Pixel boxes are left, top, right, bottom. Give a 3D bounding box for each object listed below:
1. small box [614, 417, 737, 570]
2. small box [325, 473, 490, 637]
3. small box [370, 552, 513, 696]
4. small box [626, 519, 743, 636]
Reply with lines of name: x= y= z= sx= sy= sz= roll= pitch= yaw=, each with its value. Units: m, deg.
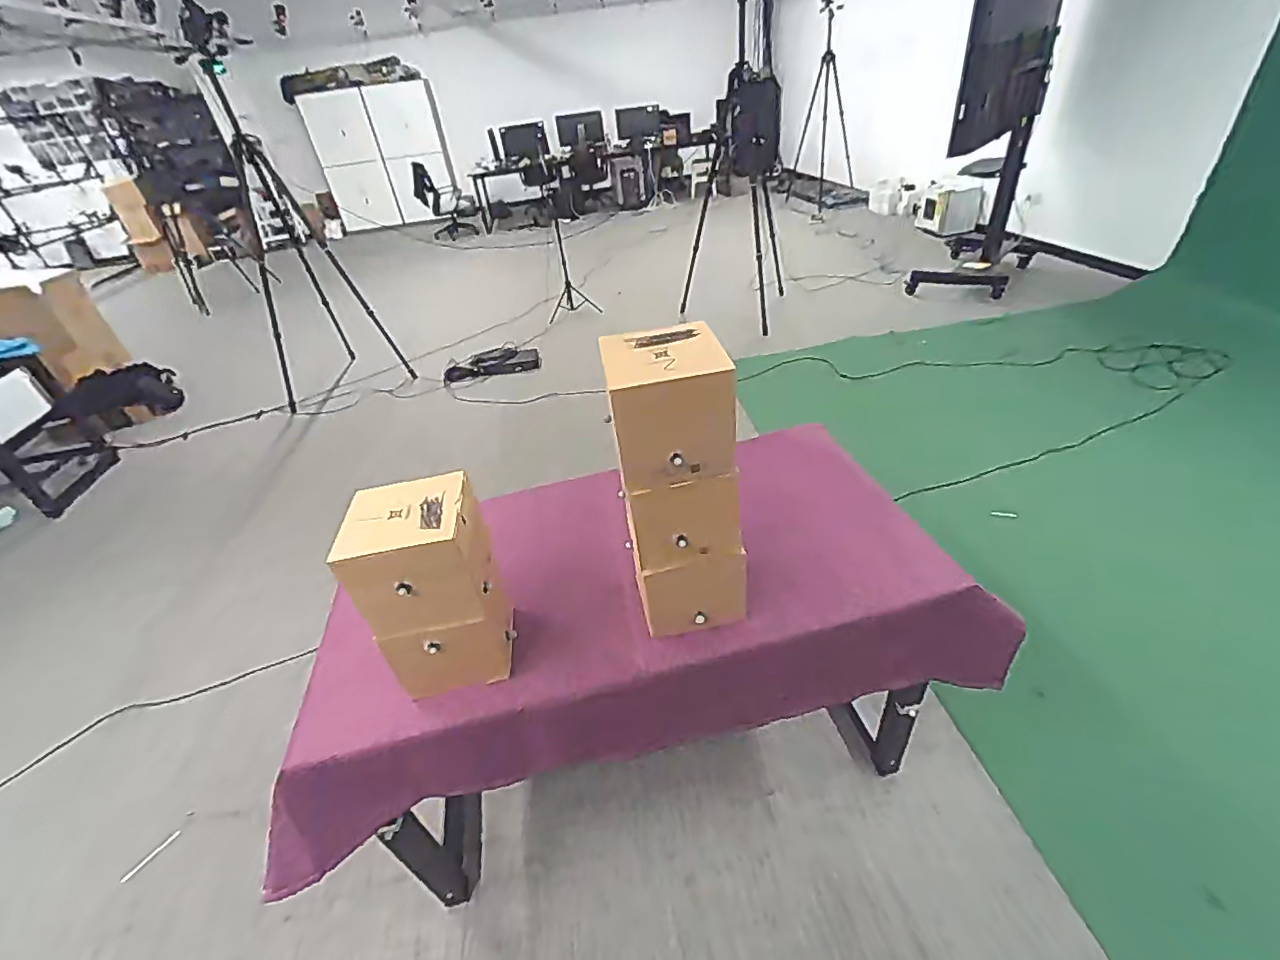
small box: x=0.056 y=0.021 z=0.897 sx=0.168 sy=0.176 sz=0.179 roll=-11 pitch=37 yaw=-4
small box: x=-0.343 y=0.117 z=0.844 sx=0.179 sy=0.176 sz=0.168 roll=-12 pitch=37 yaw=-3
small box: x=-0.330 y=0.250 z=0.939 sx=0.179 sy=0.176 sz=0.168 roll=-10 pitch=37 yaw=-4
small box: x=0.078 y=0.157 z=0.985 sx=0.179 sy=0.176 sz=0.168 roll=-11 pitch=36 yaw=-5
